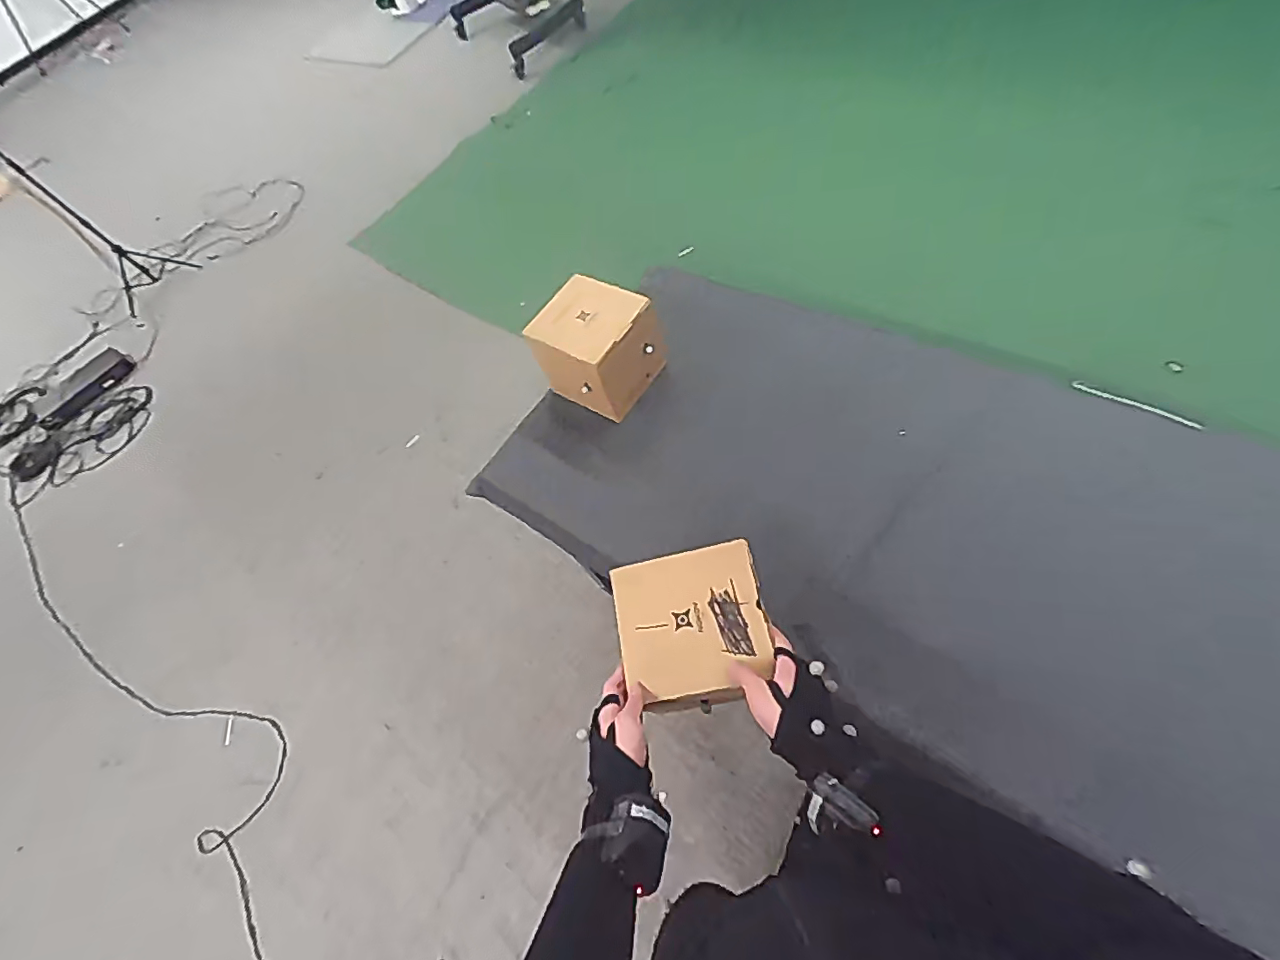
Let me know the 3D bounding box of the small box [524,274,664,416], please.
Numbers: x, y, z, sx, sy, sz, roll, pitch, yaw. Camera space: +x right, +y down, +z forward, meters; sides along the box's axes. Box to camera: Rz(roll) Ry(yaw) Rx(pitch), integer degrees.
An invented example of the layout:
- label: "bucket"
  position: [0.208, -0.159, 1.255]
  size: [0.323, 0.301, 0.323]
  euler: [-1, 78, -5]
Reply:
- label: "small box"
  position: [-0.075, -0.242, 0.998]
  size: [0.179, 0.176, 0.168]
  euler: [27, 68, 26]

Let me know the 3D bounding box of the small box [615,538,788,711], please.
- label: "small box"
  position: [0.078, 0.191, 0.689]
  size: [0.179, 0.176, 0.168]
  euler: [-13, 61, 6]
